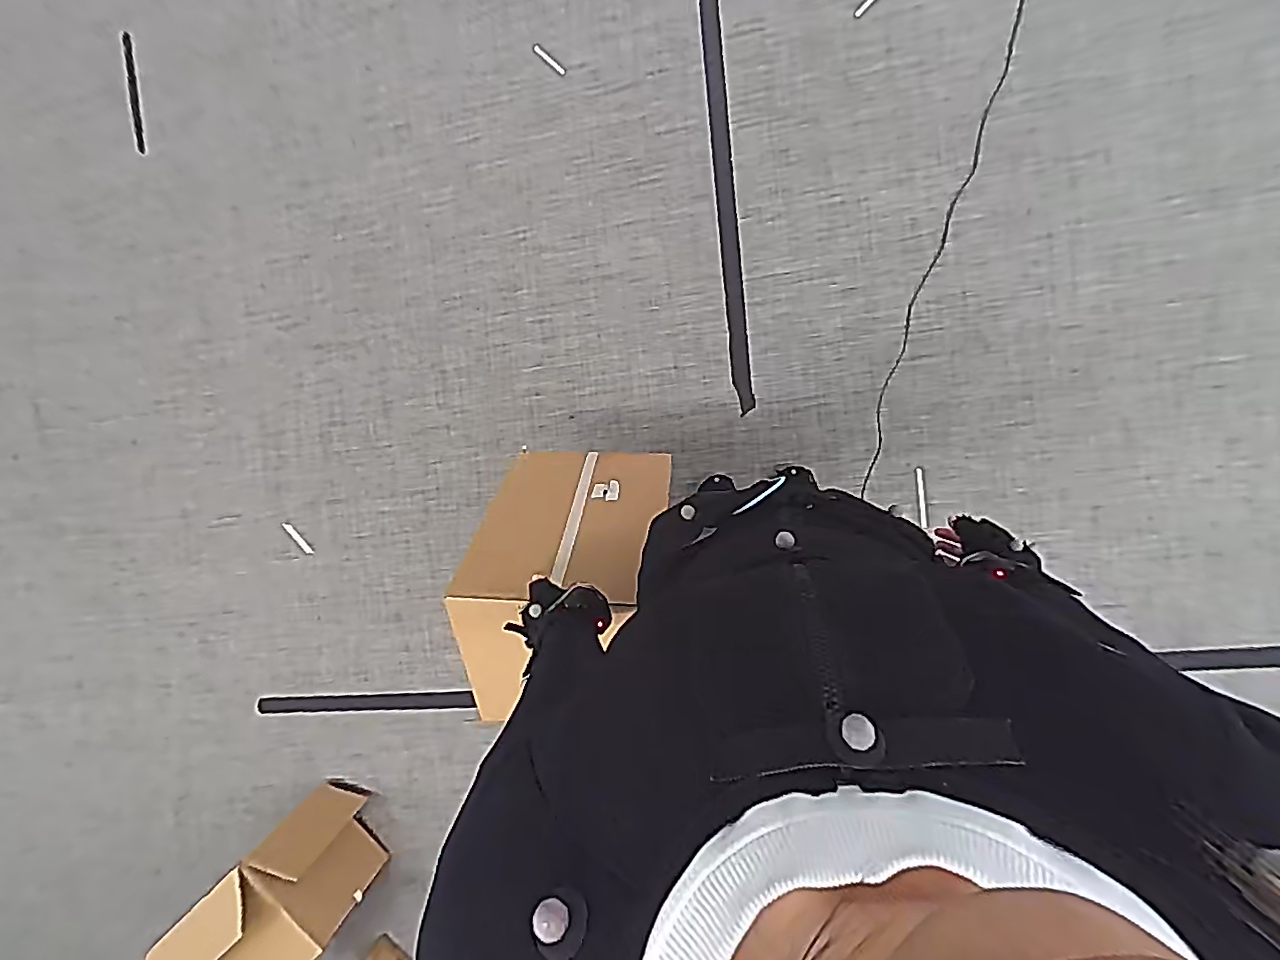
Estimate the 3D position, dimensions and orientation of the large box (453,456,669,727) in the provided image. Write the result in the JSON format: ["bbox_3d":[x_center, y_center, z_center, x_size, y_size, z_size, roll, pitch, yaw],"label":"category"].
[{"bbox_3d":[-0.105,0.192,1.011,0.320,0.408,0.320,2,123,4],"label":"large box"}]
